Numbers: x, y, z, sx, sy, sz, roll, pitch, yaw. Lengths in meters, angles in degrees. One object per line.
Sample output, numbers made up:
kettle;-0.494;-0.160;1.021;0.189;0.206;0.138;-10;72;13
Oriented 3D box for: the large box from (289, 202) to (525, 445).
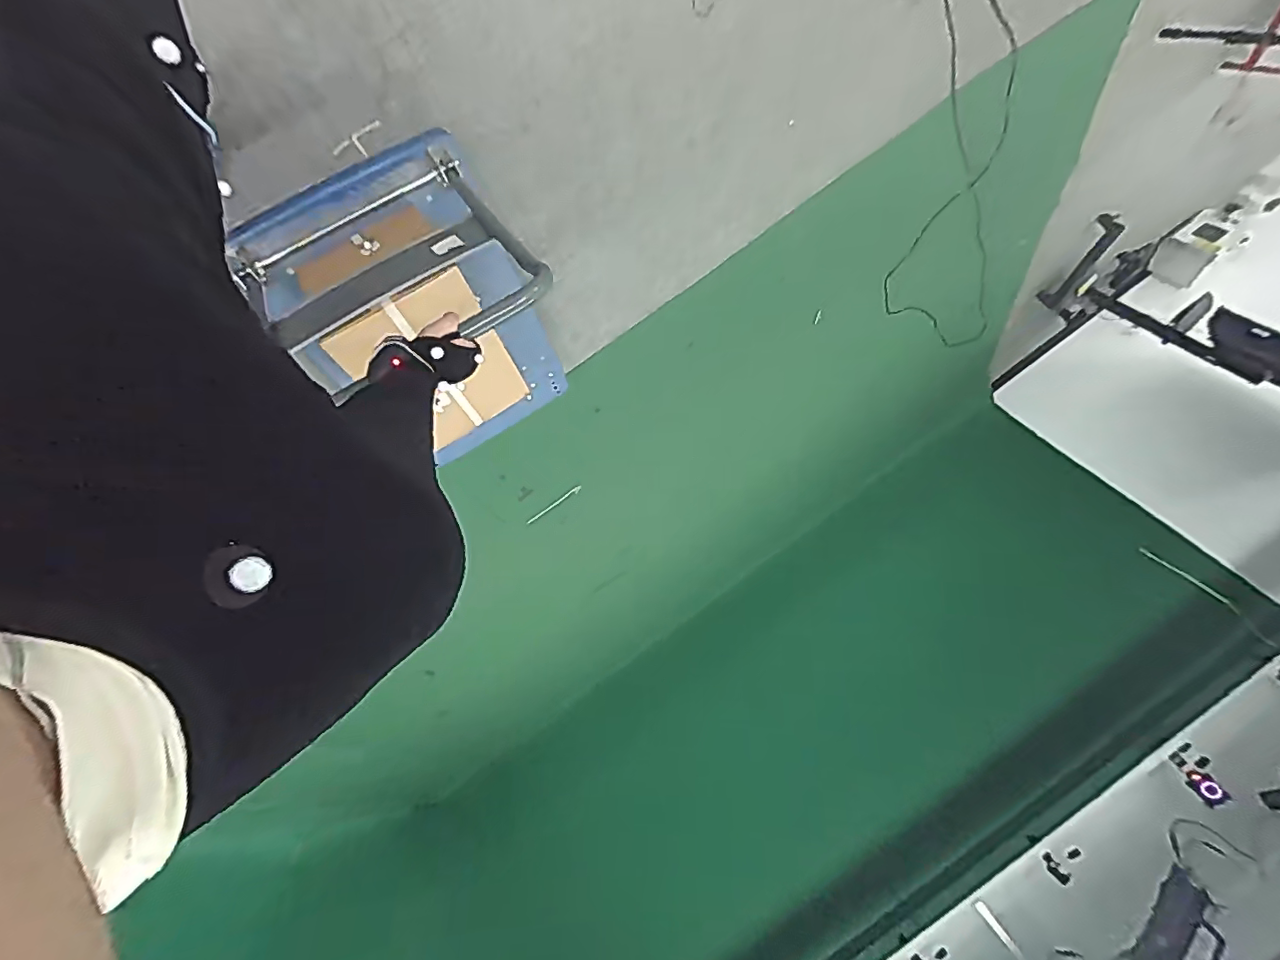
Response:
large box;-0.545;-0.366;1.311;0.320;0.320;0.408;-33;148;-7
